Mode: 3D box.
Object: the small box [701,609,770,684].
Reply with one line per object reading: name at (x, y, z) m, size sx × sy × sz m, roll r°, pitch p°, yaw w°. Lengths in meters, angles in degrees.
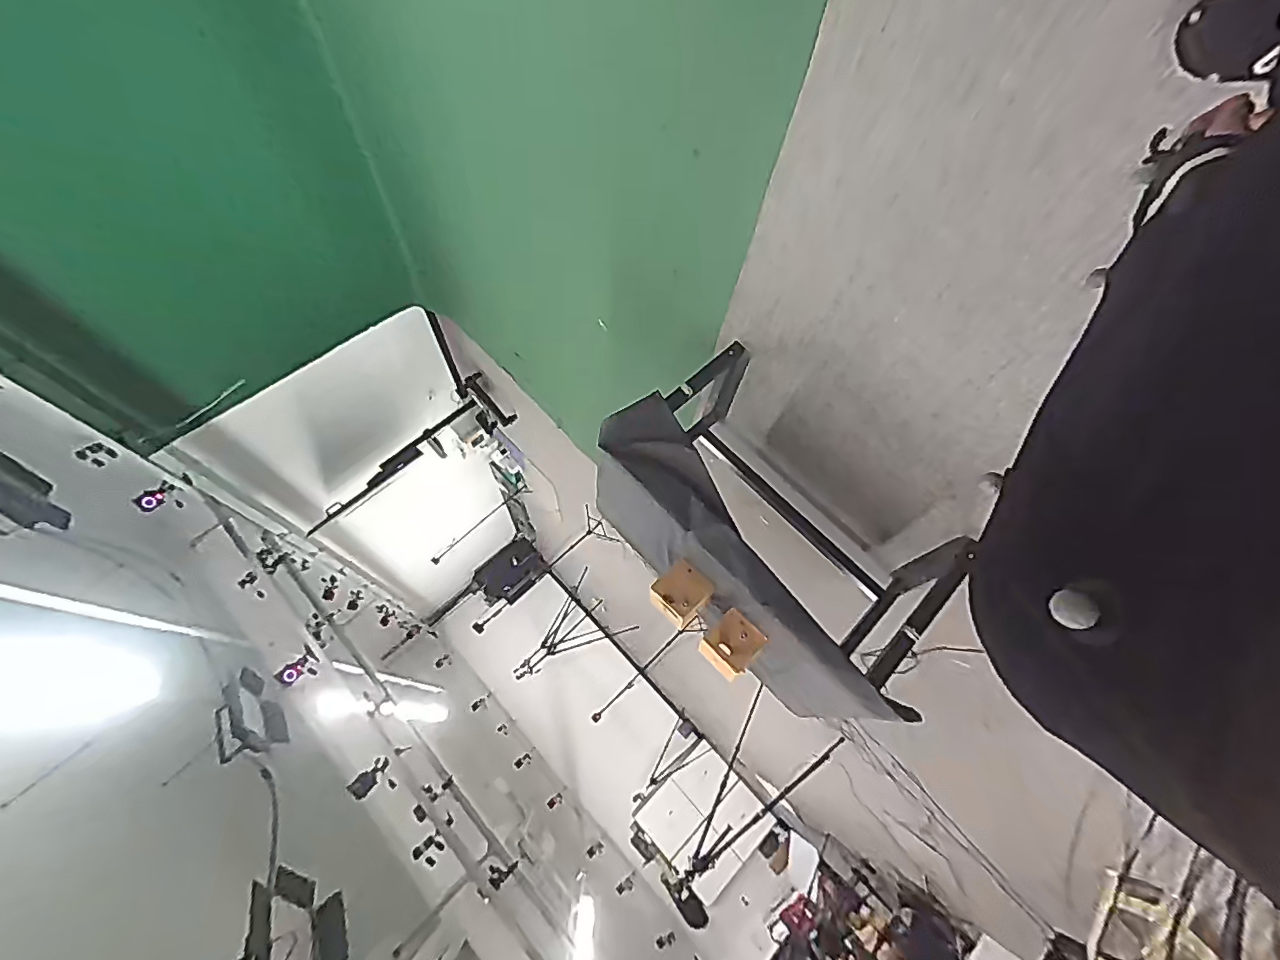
small box at (0.338, 0.591, 1.923) m, size 0.168 × 0.176 × 0.179 m, roll 41°, pitch 158°, yaw 22°
